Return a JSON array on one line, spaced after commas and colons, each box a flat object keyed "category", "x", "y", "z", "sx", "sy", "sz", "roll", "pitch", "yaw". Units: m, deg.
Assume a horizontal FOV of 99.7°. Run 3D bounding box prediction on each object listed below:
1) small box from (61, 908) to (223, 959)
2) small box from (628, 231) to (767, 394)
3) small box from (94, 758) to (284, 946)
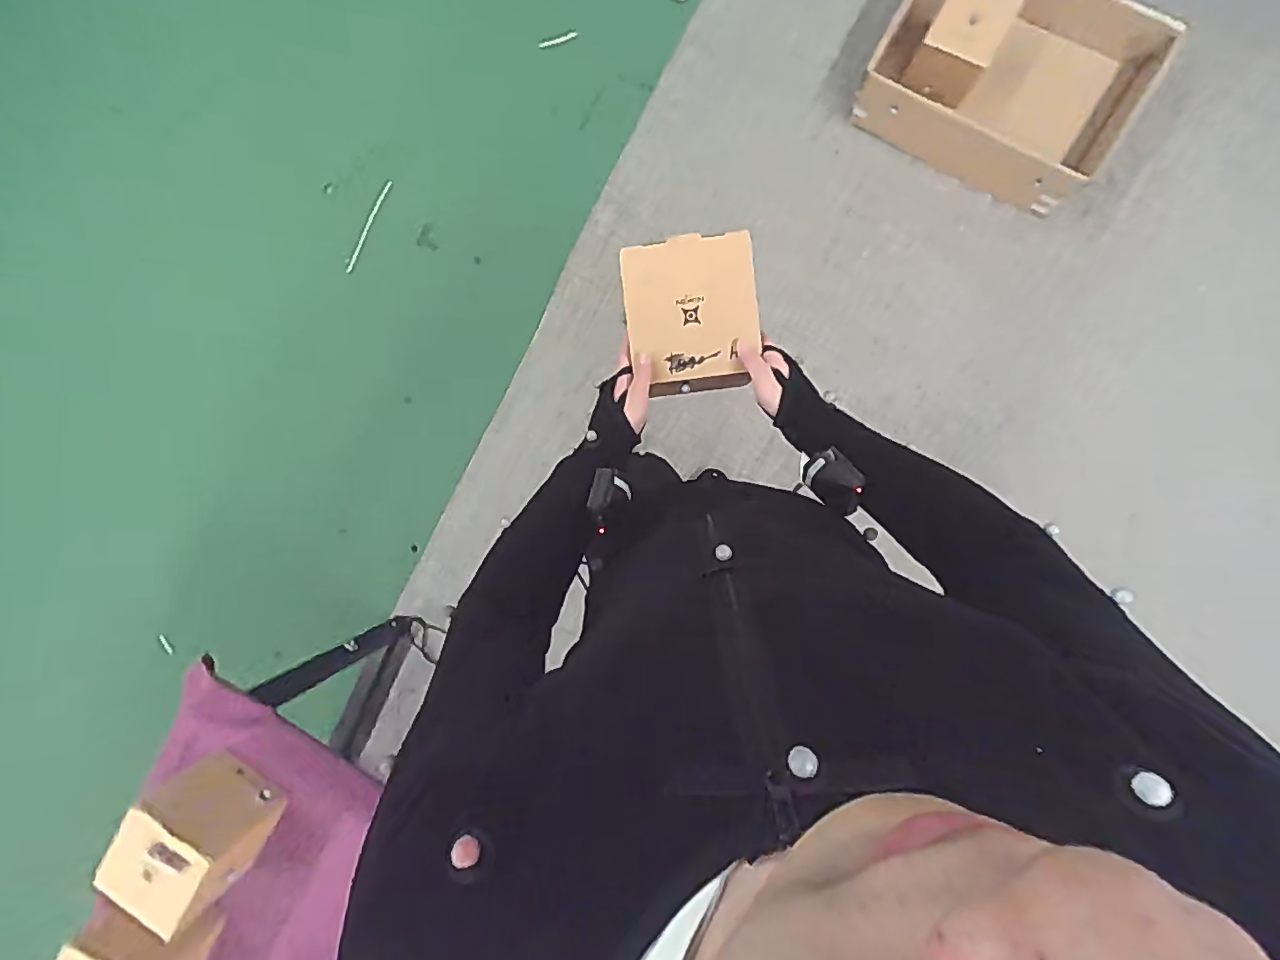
[{"category": "small box", "x": -0.918, "y": 0.893, "z": 0.983, "sx": 0.168, "sy": 0.176, "sz": 0.179, "roll": 29, "pitch": 95, "yaw": 4}, {"category": "small box", "x": 0.075, "y": -0.220, "z": 0.754, "sx": 0.168, "sy": 0.176, "sz": 0.179, "roll": -5, "pitch": 94, "yaw": 4}, {"category": "small box", "x": -0.779, "y": 0.639, "z": 0.954, "sx": 0.168, "sy": 0.176, "sz": 0.179, "roll": 32, "pitch": 98, "yaw": 4}]
